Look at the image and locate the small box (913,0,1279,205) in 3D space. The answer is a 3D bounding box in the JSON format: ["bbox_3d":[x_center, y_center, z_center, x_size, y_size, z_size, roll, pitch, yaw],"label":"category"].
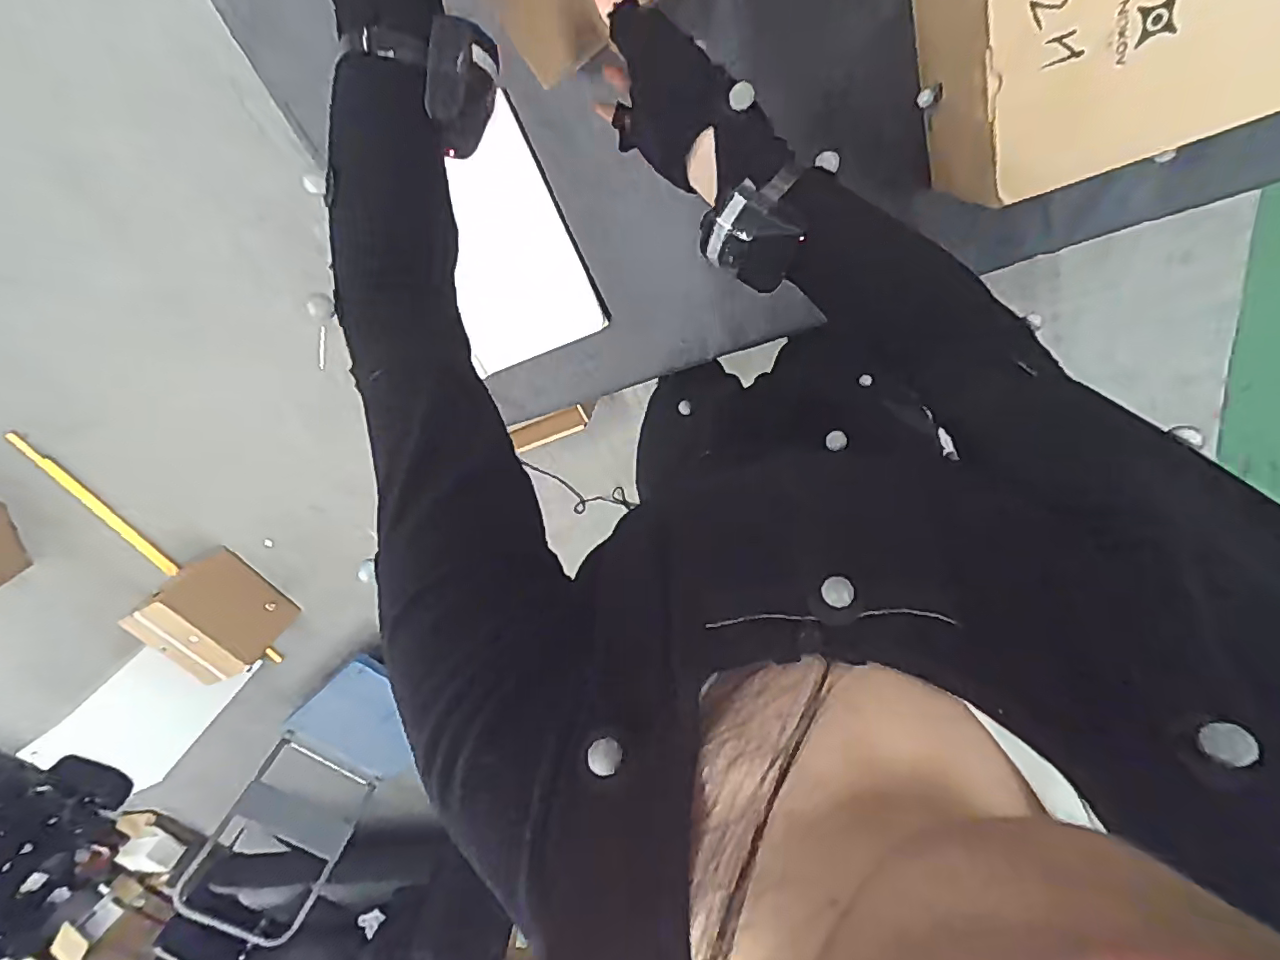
[{"bbox_3d":[0.333,-0.337,0.415,0.179,0.176,0.168,-13,119,19],"label":"small box"}]

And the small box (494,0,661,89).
[{"bbox_3d":[-0.040,-0.439,0.400,0.179,0.176,0.168,-25,126,23],"label":"small box"}]
